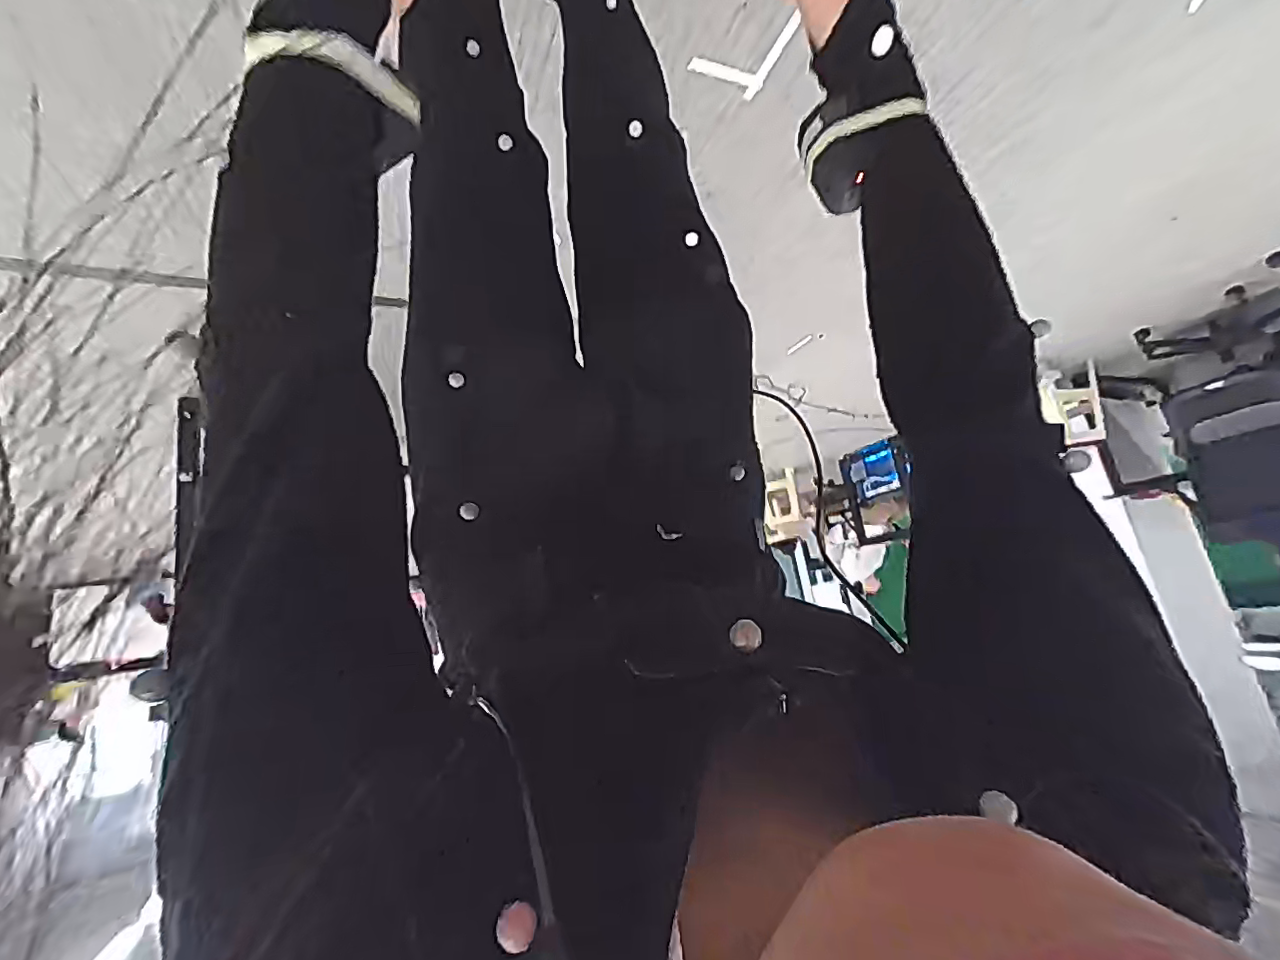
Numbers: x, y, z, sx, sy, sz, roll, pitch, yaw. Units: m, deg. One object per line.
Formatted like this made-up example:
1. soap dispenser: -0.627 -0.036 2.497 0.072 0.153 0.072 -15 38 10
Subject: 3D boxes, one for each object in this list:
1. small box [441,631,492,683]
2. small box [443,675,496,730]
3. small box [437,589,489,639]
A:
1. small box: -0.693 0.697 2.144 0.168 0.176 0.179 -3 166 -28
2. small box: -0.668 0.855 2.102 0.168 0.176 0.179 -3 165 -28
3. small box: -0.718 0.538 2.175 0.168 0.176 0.179 -3 165 -28
